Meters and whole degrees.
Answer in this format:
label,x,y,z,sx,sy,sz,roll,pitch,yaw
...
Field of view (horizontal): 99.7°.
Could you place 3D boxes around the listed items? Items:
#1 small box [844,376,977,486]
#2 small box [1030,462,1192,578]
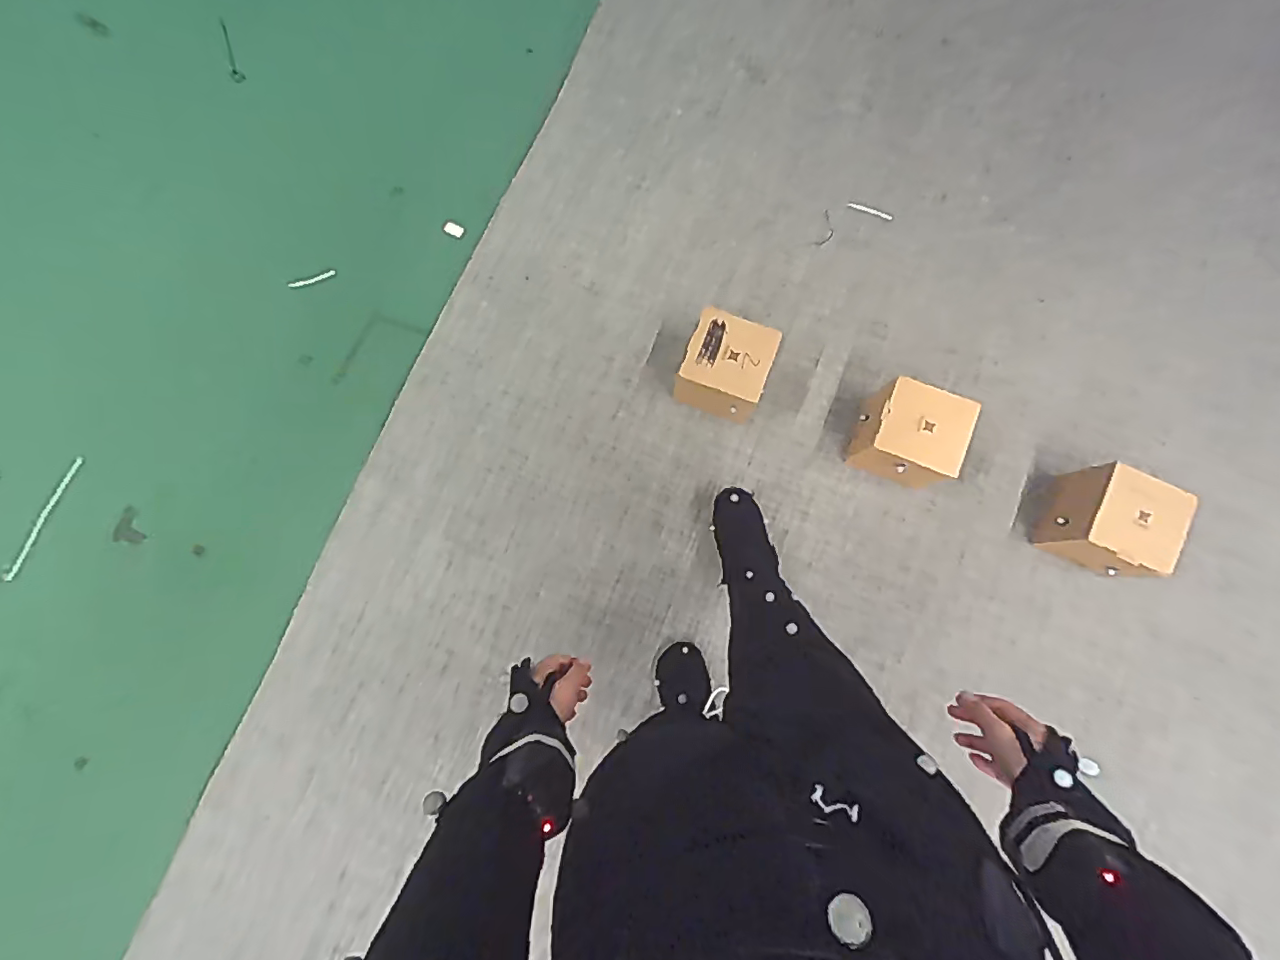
label,x,y,z,sx,sy,sz,roll,pitch,yaw
small box,0.570,-0.095,1.159,0.179,0.176,0.168,22,82,5
small box,0.957,0.089,1.118,0.168,0.176,0.179,27,81,4
